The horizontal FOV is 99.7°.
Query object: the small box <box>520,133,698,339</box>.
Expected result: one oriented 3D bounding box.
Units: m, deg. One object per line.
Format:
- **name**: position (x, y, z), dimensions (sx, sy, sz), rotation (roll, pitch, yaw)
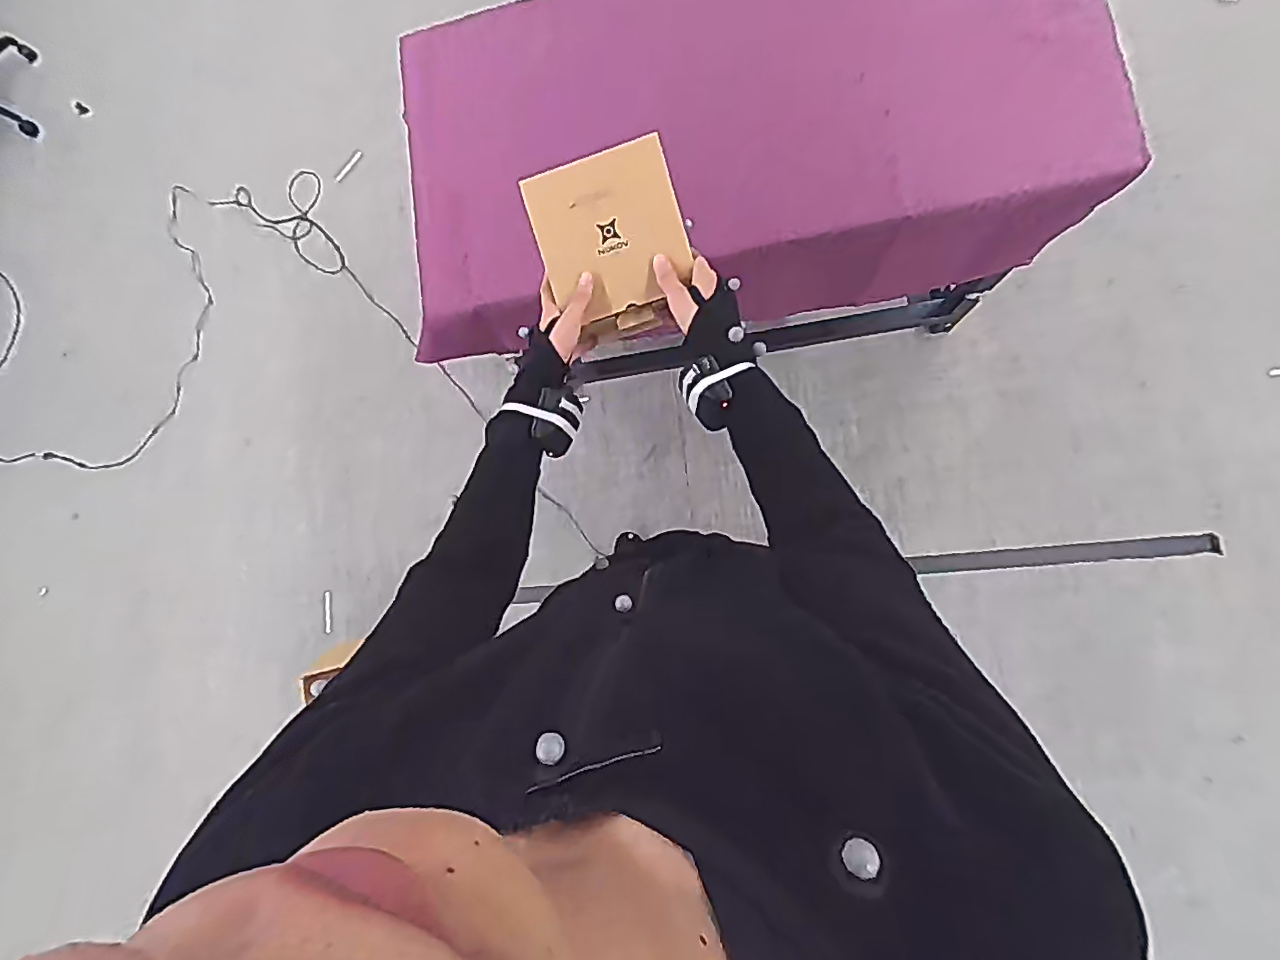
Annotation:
- **small box**: position (-0.028, -0.286, 0.684), dimensions (0.168, 0.176, 0.179), rotation (-17, 96, 5)
